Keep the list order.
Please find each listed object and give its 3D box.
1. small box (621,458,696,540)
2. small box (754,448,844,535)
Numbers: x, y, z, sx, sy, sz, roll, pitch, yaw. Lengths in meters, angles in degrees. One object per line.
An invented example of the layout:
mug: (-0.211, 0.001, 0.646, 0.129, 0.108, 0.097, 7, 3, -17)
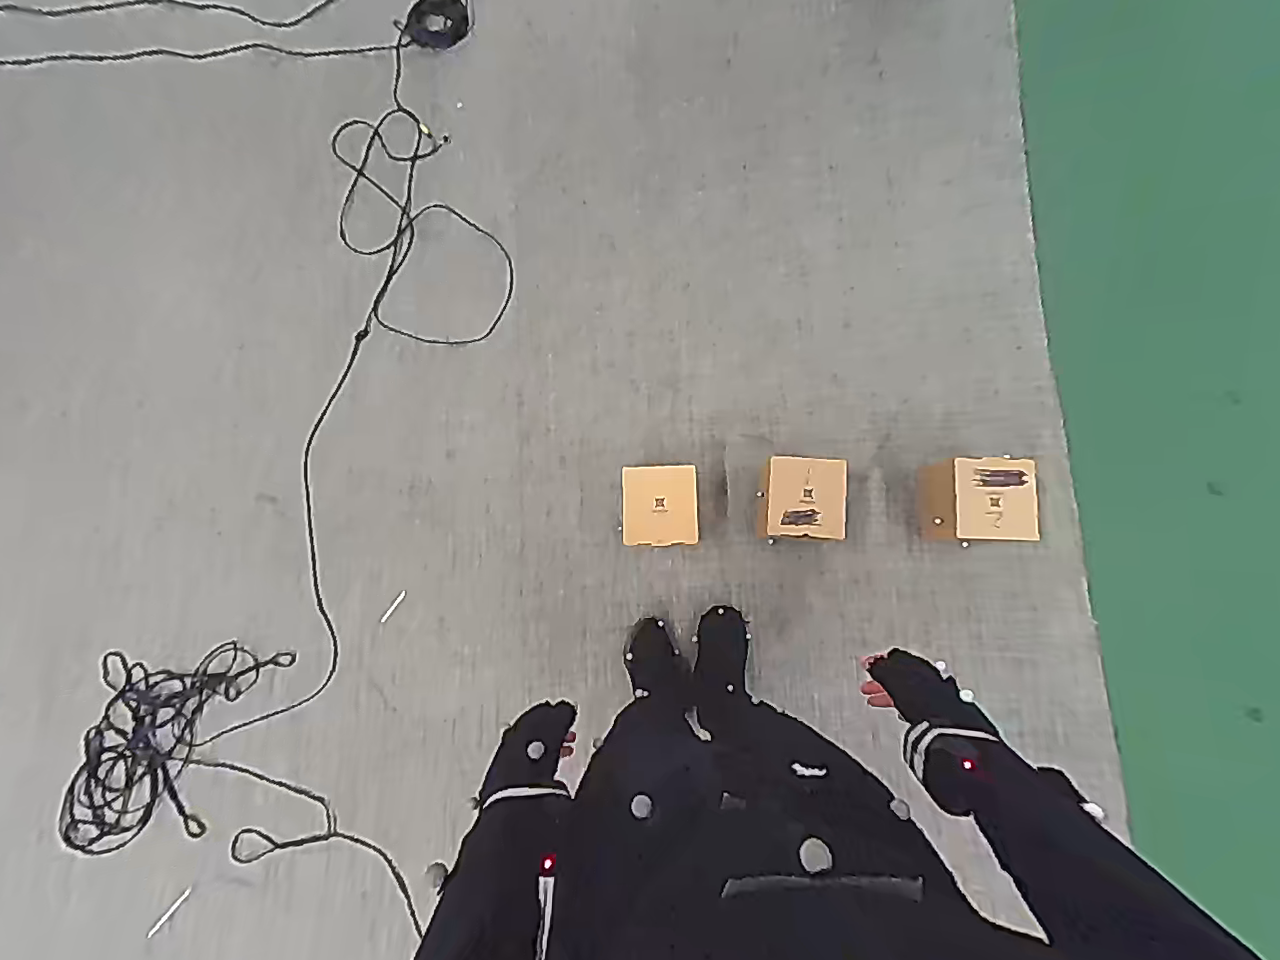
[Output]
small box: (0.045, 0.050, 1.266, 0.168, 0.176, 0.179, -2, 83, 4)
small box: (0.358, 0.033, 1.243, 0.168, 0.176, 0.179, 4, 82, 4)
